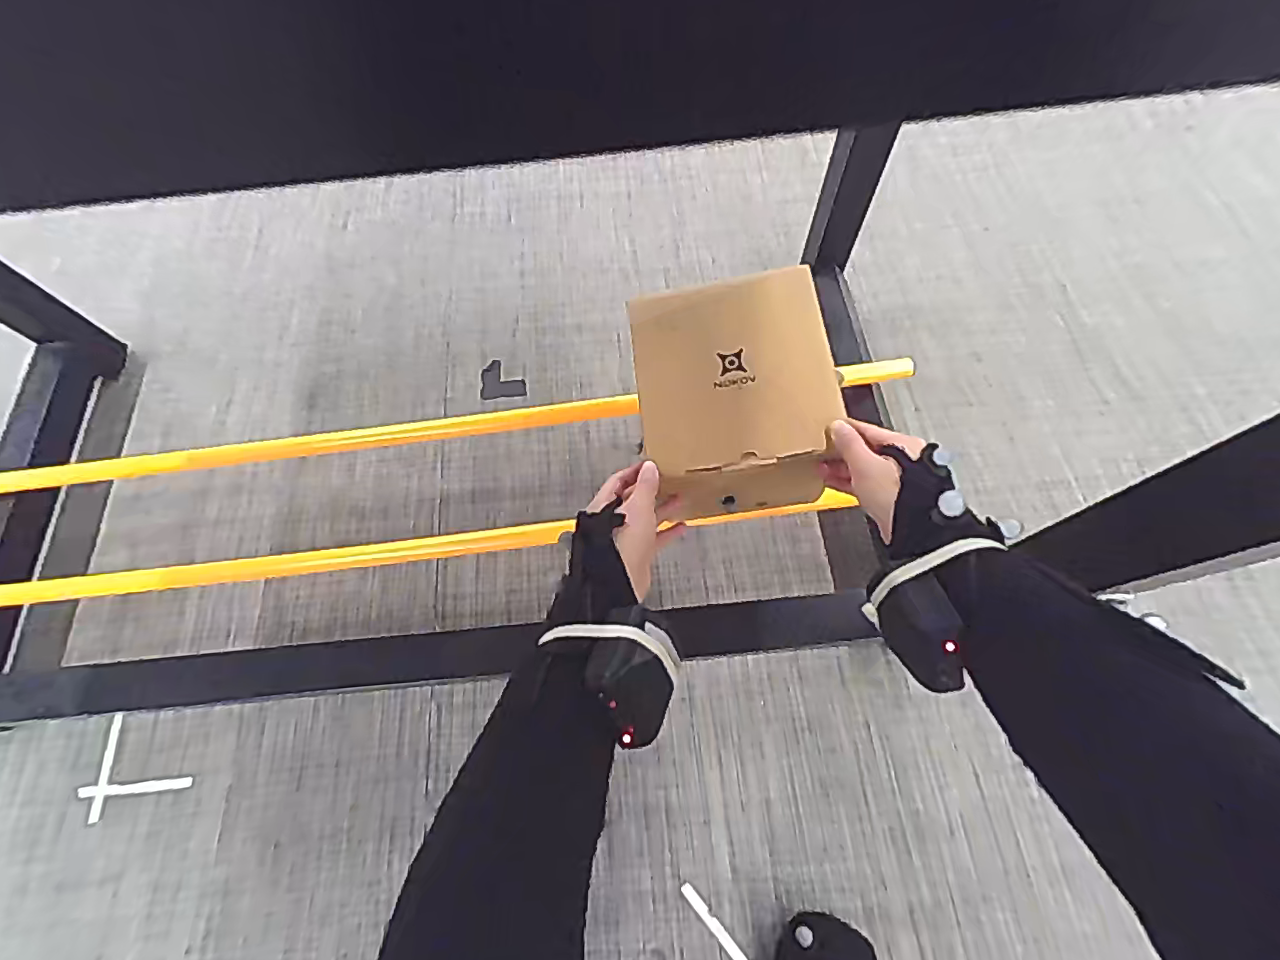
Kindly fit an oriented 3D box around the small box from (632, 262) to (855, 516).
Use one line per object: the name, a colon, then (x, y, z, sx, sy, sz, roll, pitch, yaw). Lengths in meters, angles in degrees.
small box: (0.089, -0.076, 0.528, 0.168, 0.176, 0.179, -8, 73, 5)
